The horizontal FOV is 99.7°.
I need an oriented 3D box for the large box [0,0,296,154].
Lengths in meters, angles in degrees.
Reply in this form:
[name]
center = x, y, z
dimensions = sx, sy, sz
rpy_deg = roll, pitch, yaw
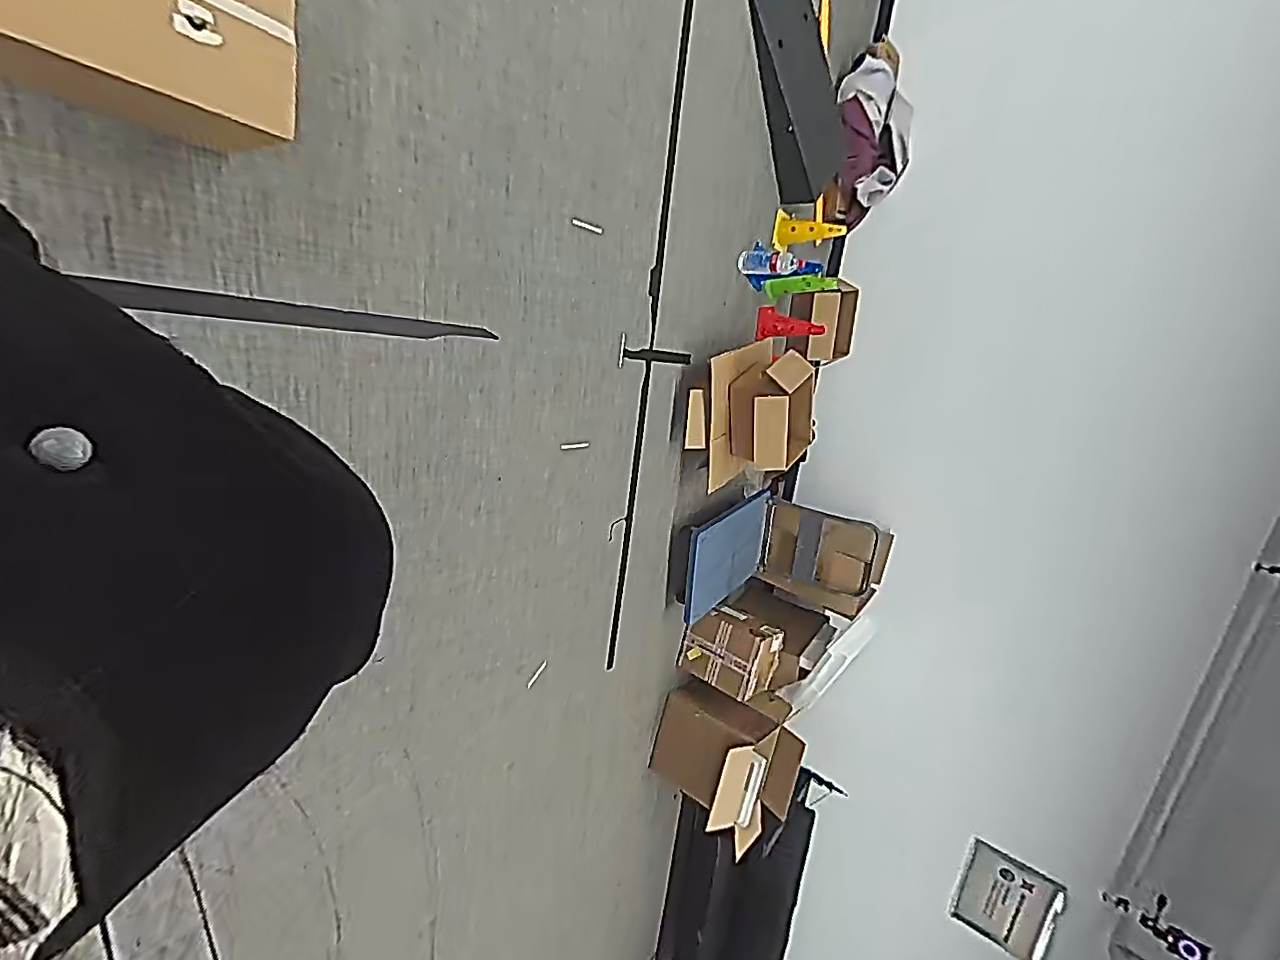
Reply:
[large box]
center = -0.824, -0.762, 0.843
dimensions = 0.408, 0.320, 0.320
rpy_deg = -8, 111, -53
